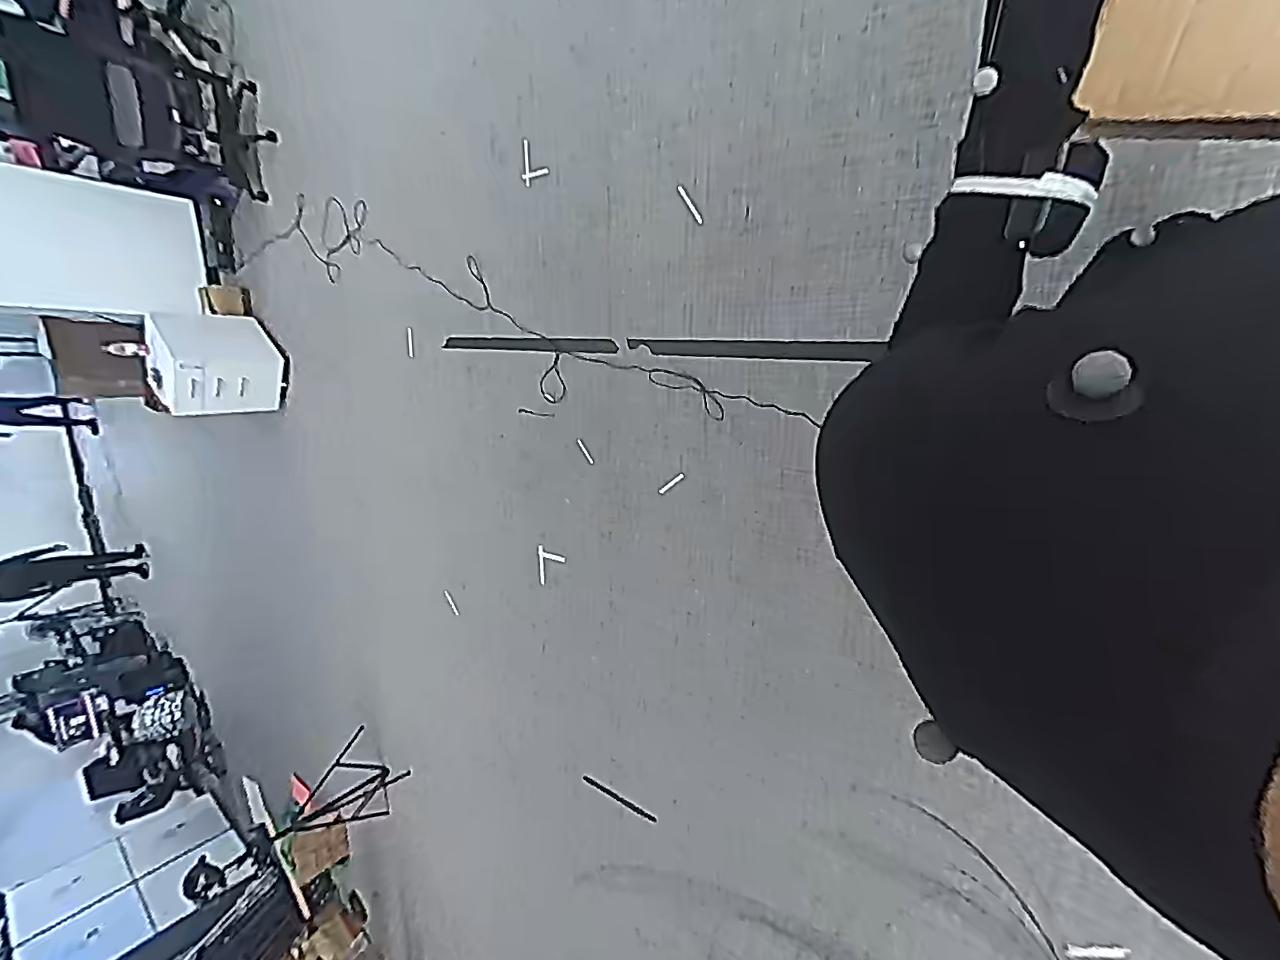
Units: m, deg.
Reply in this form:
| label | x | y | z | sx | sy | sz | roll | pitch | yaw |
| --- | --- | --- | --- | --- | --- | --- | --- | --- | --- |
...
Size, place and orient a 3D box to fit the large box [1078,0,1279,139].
| label | x | y | z | sx | sy | sz | roll | pitch | yaw |
| --- | --- | --- | --- | --- | --- | --- | --- | --- | --- |
| large box | 0.557 | -0.388 | 0.309 | 0.408 | 0.320 | 0.320 | 22 | 127 | 31 |
